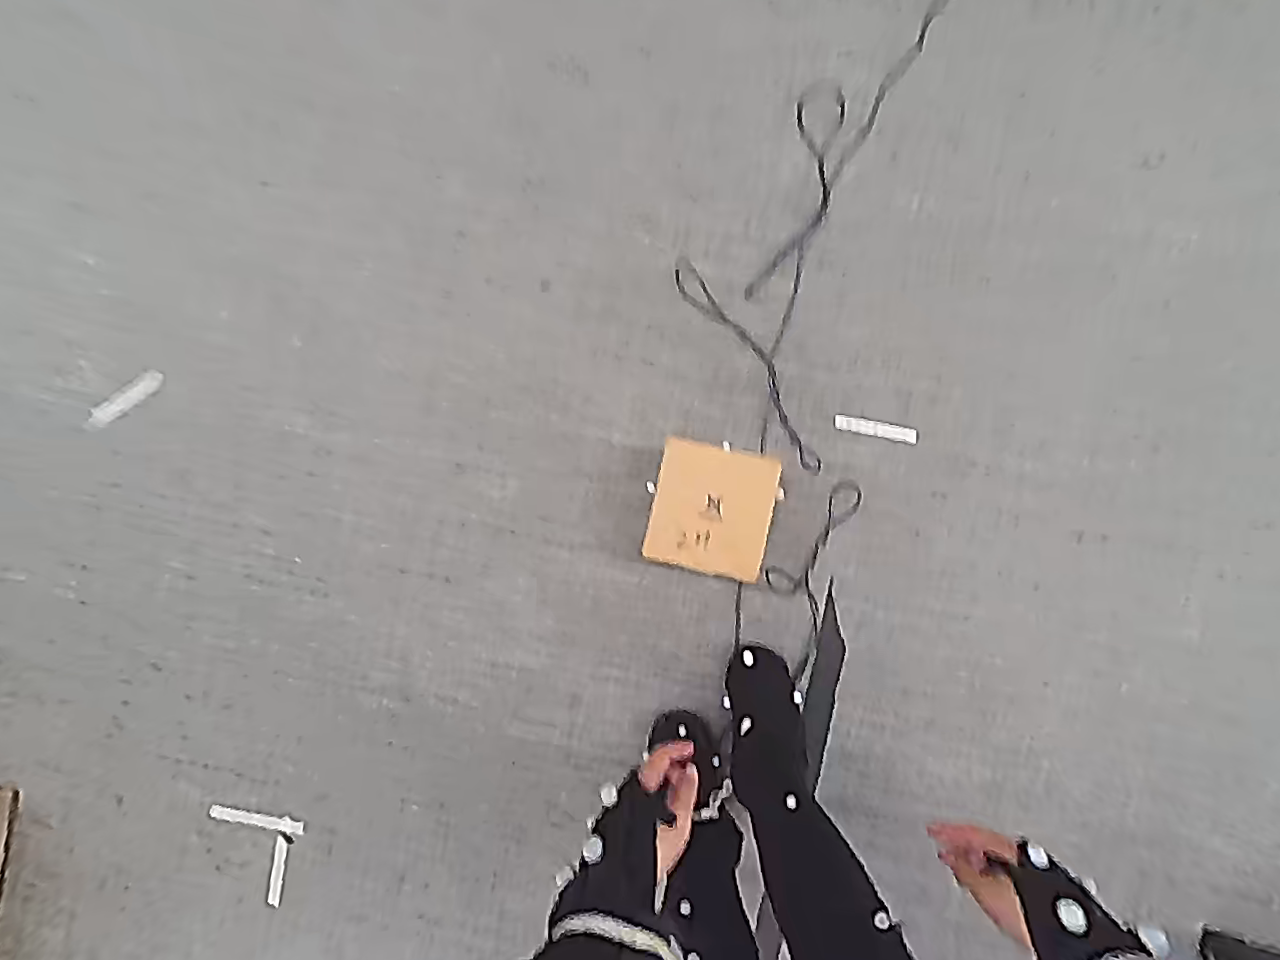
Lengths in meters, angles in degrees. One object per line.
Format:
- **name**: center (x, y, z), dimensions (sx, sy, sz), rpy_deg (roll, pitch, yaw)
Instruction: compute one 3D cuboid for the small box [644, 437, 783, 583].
- **small box**: center (0.108, 0.042, 0.829), dimensions (0.168, 0.176, 0.179), rpy_deg (13, 91, 5)
